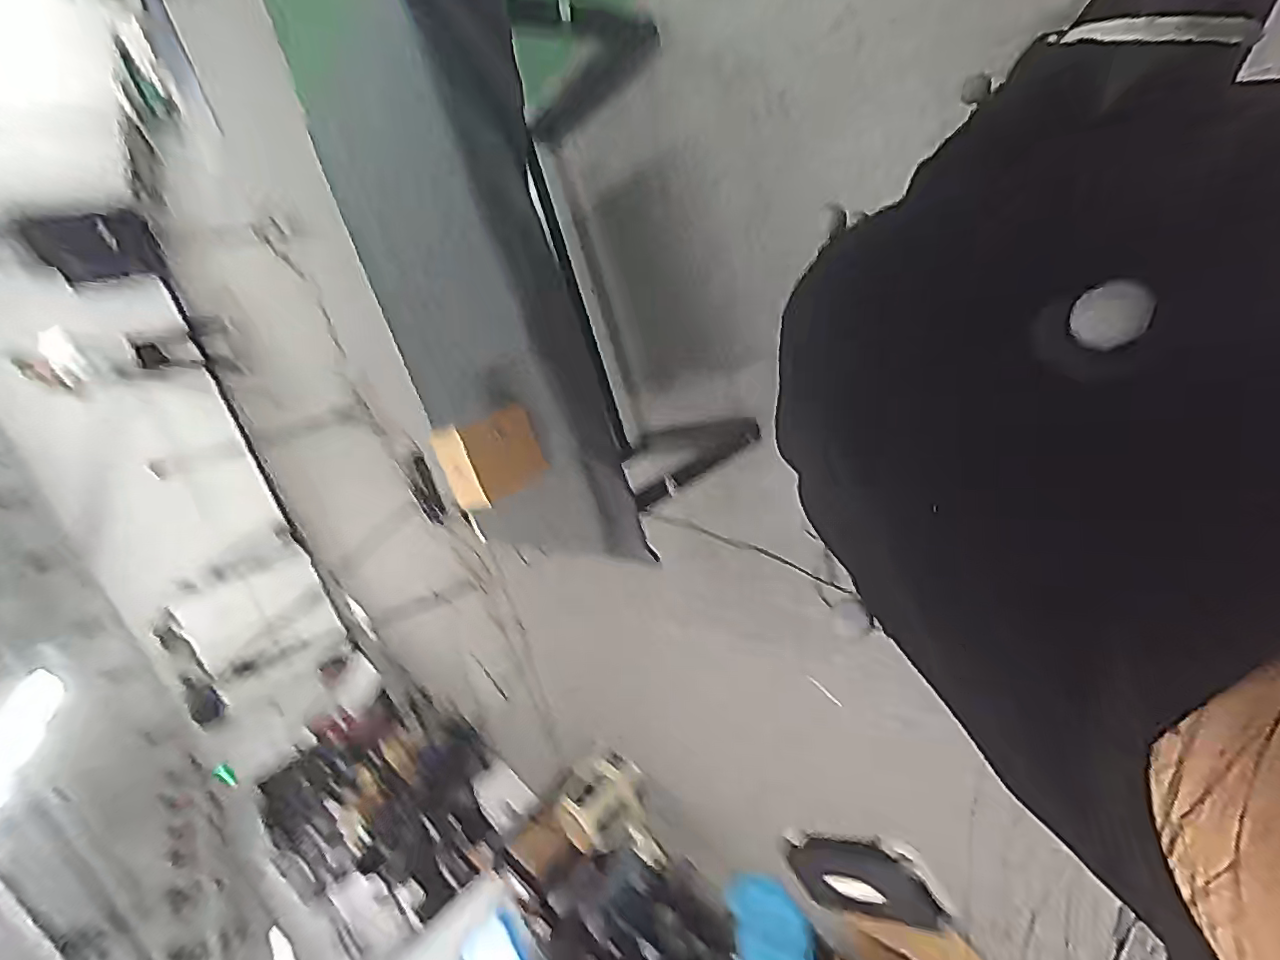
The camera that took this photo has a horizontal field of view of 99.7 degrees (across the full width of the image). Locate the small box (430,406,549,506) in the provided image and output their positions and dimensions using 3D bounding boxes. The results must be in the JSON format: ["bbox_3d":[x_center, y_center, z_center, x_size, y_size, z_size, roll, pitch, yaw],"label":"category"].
[{"bbox_3d":[-0.337,-0.057,1.220,0.168,0.176,0.179,-8,107,51],"label":"small box"}]
